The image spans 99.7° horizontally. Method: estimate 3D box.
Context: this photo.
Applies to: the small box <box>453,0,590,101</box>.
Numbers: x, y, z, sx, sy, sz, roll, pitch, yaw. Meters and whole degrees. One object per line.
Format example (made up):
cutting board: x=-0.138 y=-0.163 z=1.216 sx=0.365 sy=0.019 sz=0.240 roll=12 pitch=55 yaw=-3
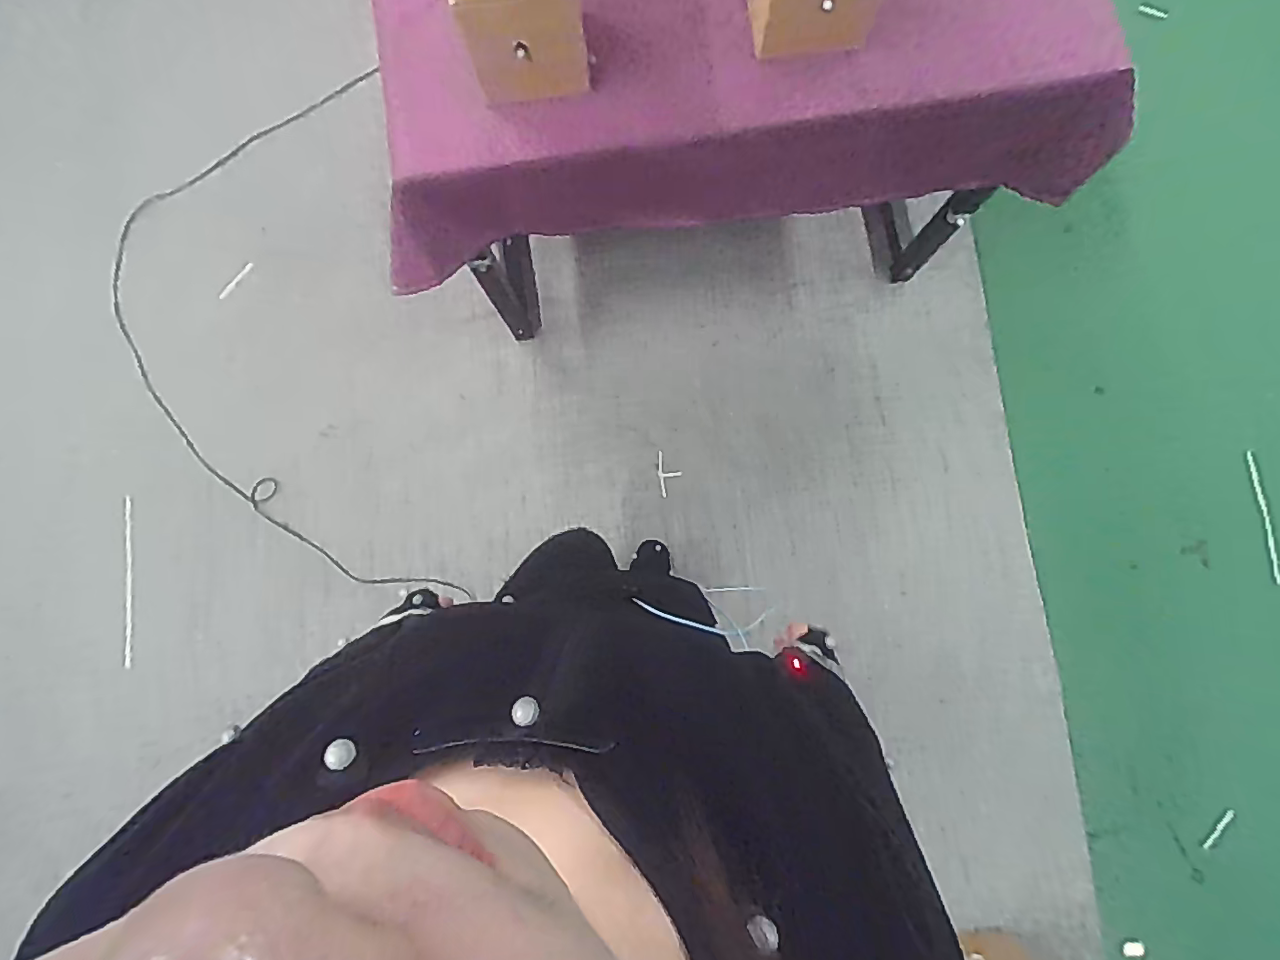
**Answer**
small box: x=-0.170 y=-0.709 z=0.807 sx=0.179 sy=0.176 sz=0.168 roll=-7 pitch=83 yaw=0
